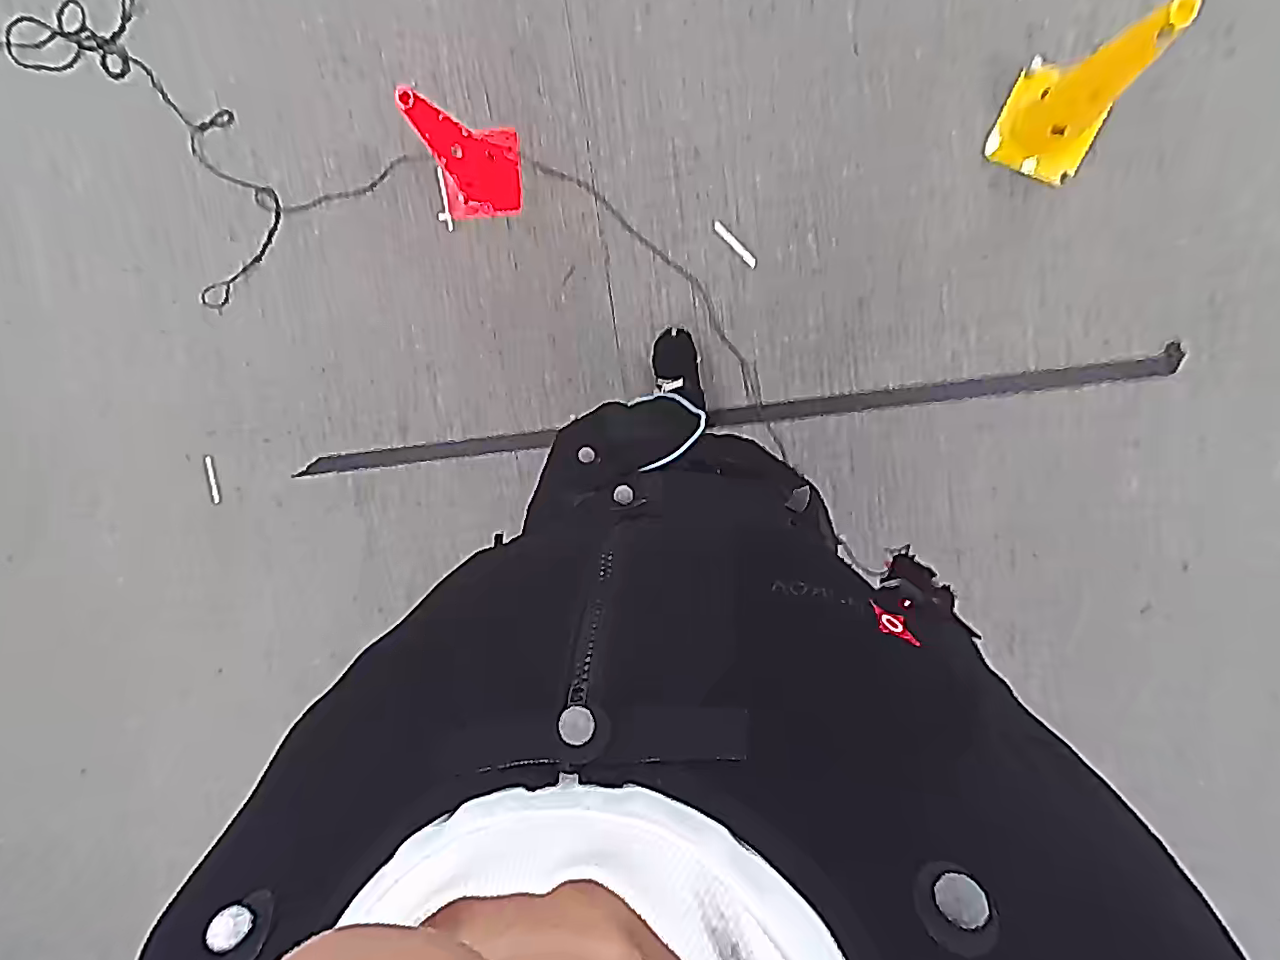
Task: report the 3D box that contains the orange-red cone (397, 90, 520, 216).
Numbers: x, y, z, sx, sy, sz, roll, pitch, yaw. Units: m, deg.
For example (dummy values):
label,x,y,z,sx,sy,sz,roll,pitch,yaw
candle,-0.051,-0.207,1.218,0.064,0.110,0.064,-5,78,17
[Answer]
label,x,y,z,sx,sy,sz,roll,pitch,yaw
orange-red cone,-0.420,-0.745,1.193,0.199,0.360,0.198,1,99,7
